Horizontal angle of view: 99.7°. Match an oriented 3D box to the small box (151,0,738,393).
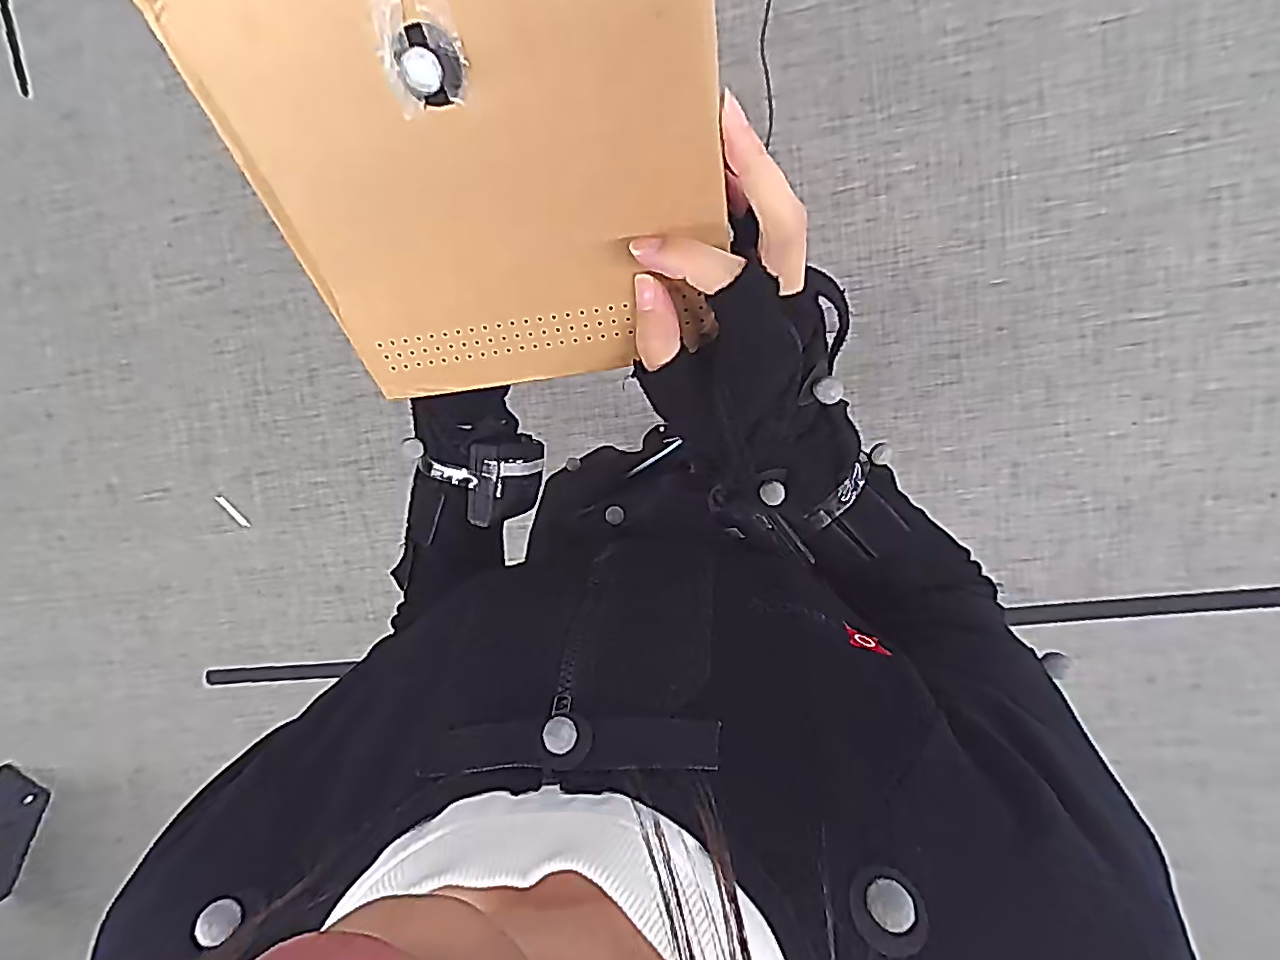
[{"bbox_3d":[-0.051,-0.158,0.264,0.179,0.168,0.176,-6,136,8],"label":"small box"}]
